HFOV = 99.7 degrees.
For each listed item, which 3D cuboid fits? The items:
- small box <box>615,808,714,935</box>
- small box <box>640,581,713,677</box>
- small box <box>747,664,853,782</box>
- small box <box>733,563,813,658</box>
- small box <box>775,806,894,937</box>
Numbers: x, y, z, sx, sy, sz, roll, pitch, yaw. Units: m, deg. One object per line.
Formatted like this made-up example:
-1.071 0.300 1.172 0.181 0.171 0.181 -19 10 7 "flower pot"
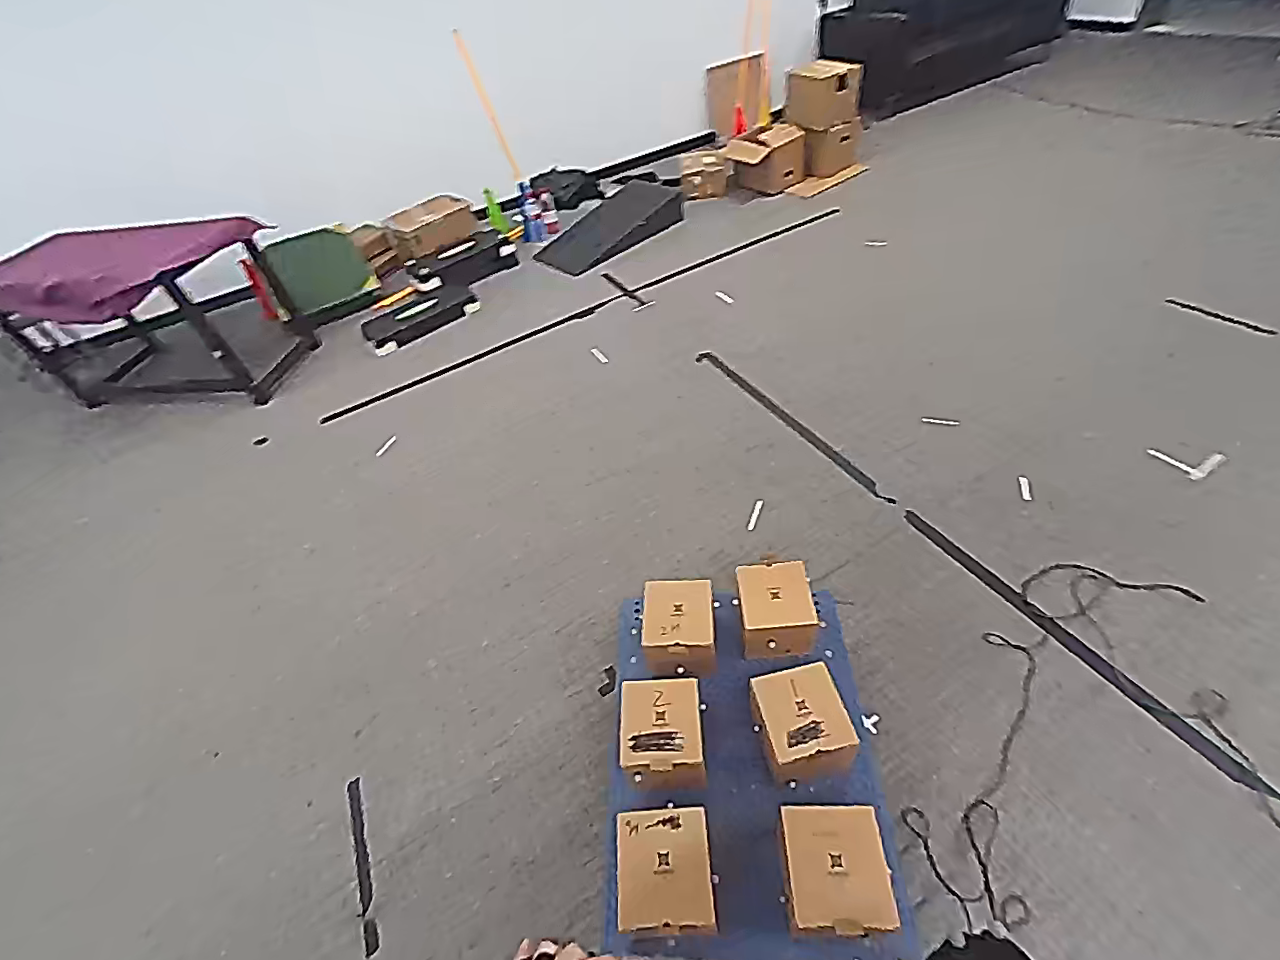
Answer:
0.047 0.737 1.014 0.168 0.176 0.179 -6 47 3 "small box"
0.095 0.372 1.351 0.168 0.176 0.179 -2 47 8 "small box"
0.336 0.528 1.164 0.168 0.176 0.179 -12 45 -2 "small box"
0.327 0.332 1.353 0.168 0.176 0.179 -6 46 4 "small box"
0.342 0.715 0.986 0.168 0.176 0.179 -3 46 6 "small box"
